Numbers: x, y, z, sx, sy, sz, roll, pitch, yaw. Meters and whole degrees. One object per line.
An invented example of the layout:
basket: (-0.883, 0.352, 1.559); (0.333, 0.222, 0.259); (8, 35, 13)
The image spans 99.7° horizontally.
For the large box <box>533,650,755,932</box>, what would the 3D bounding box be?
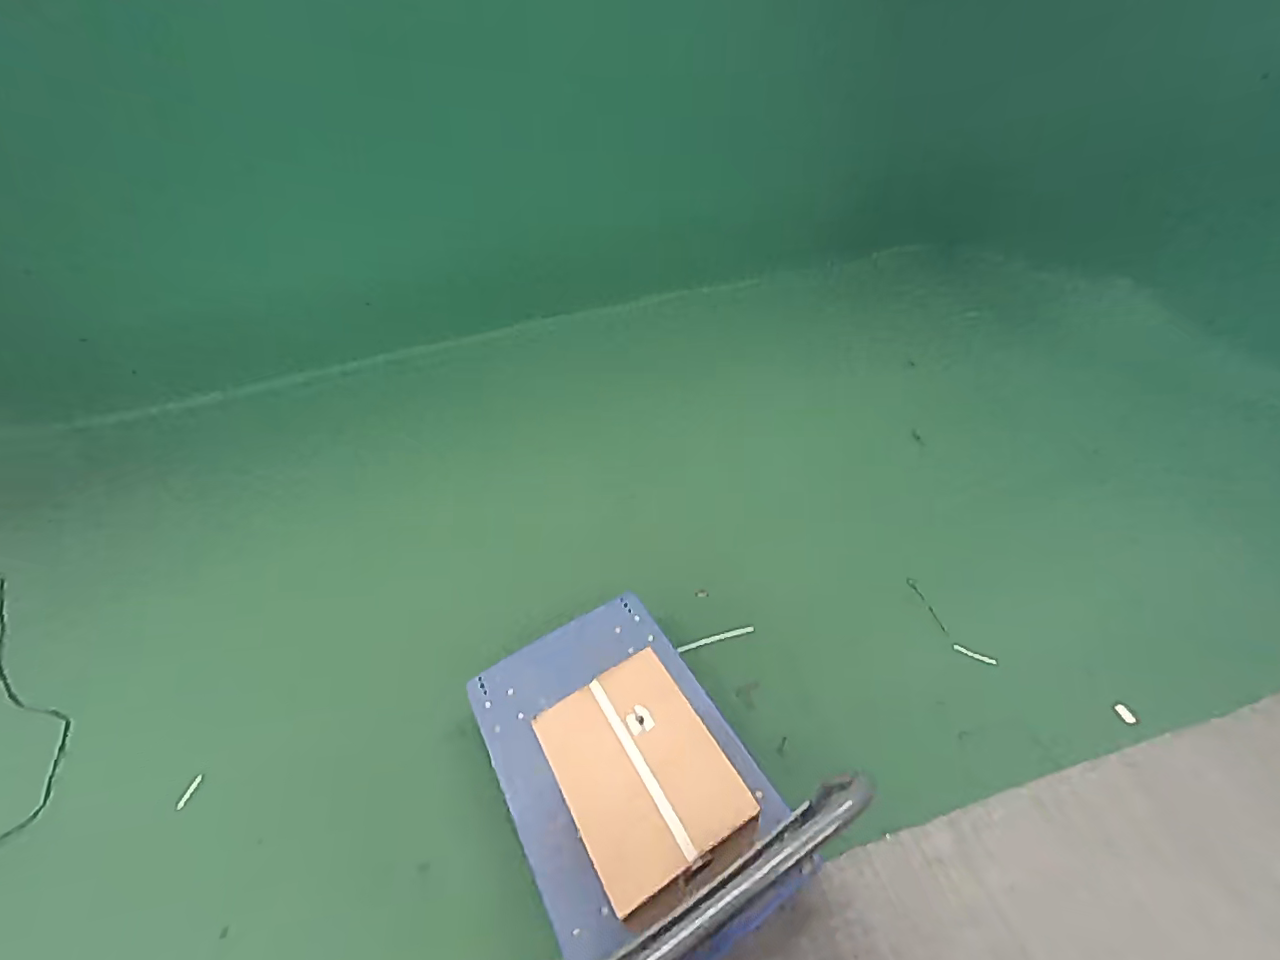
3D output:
large box: (0.012, 0.681, 1.211); (0.320, 0.320, 0.408); (-26, 46, -18)
